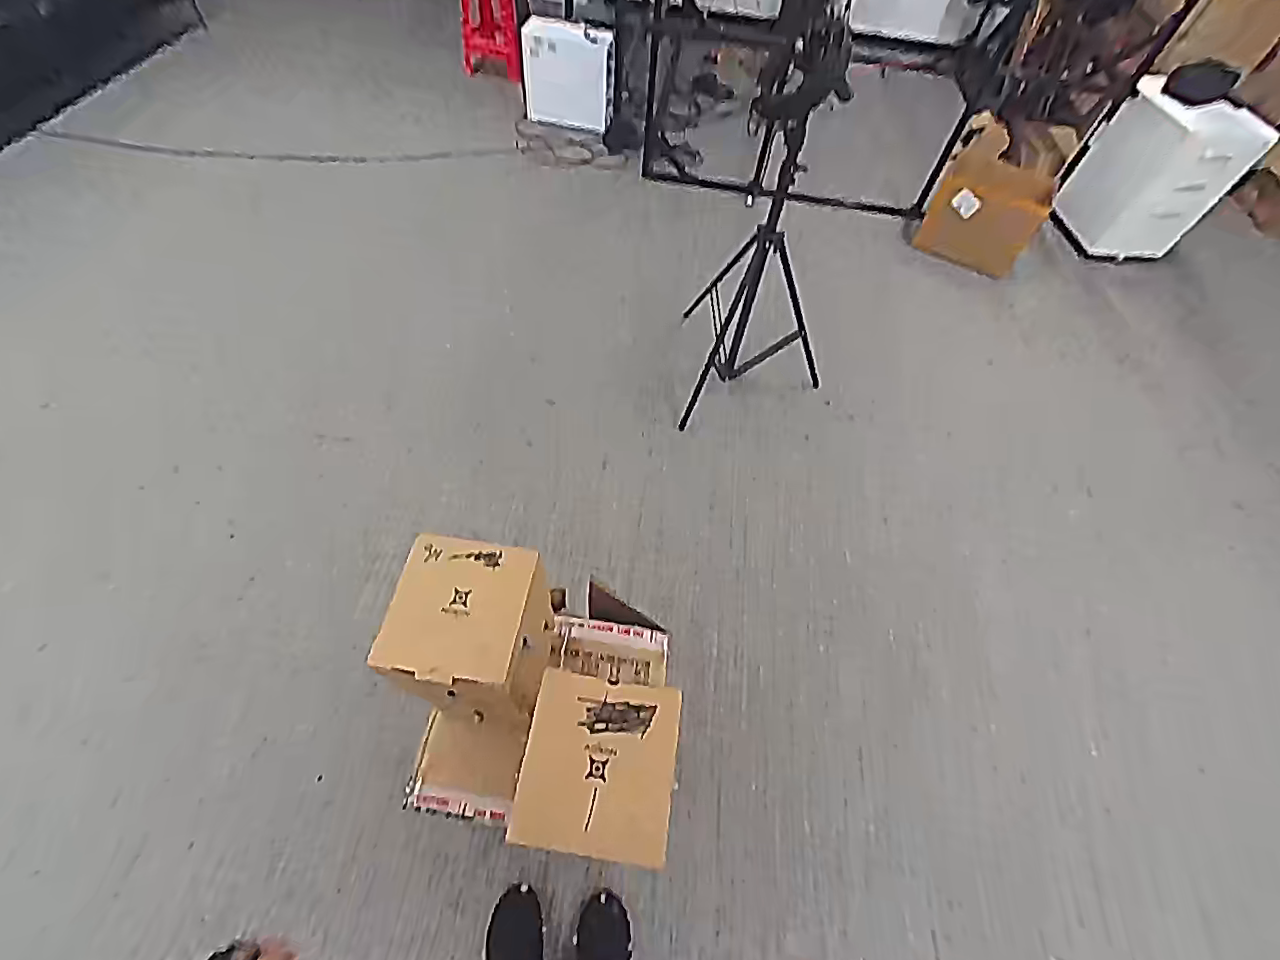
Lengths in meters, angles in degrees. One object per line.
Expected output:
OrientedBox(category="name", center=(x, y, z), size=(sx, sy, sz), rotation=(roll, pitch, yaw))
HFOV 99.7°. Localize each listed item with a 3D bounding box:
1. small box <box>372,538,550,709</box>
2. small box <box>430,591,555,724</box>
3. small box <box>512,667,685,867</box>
OrientedBox(category="small box", center=(-0.225, 0.202, 0.738), size=(0.168, 0.176, 0.179), rotation=(8, 58, 2))
OrientedBox(category="small box", center=(-0.237, 0.282, 0.881), size=(0.168, 0.176, 0.179), rotation=(6, 58, 2))
OrientedBox(category="small box", center=(-0.045, 0.348, 0.659), size=(0.168, 0.176, 0.179), rotation=(8, 58, 2))
